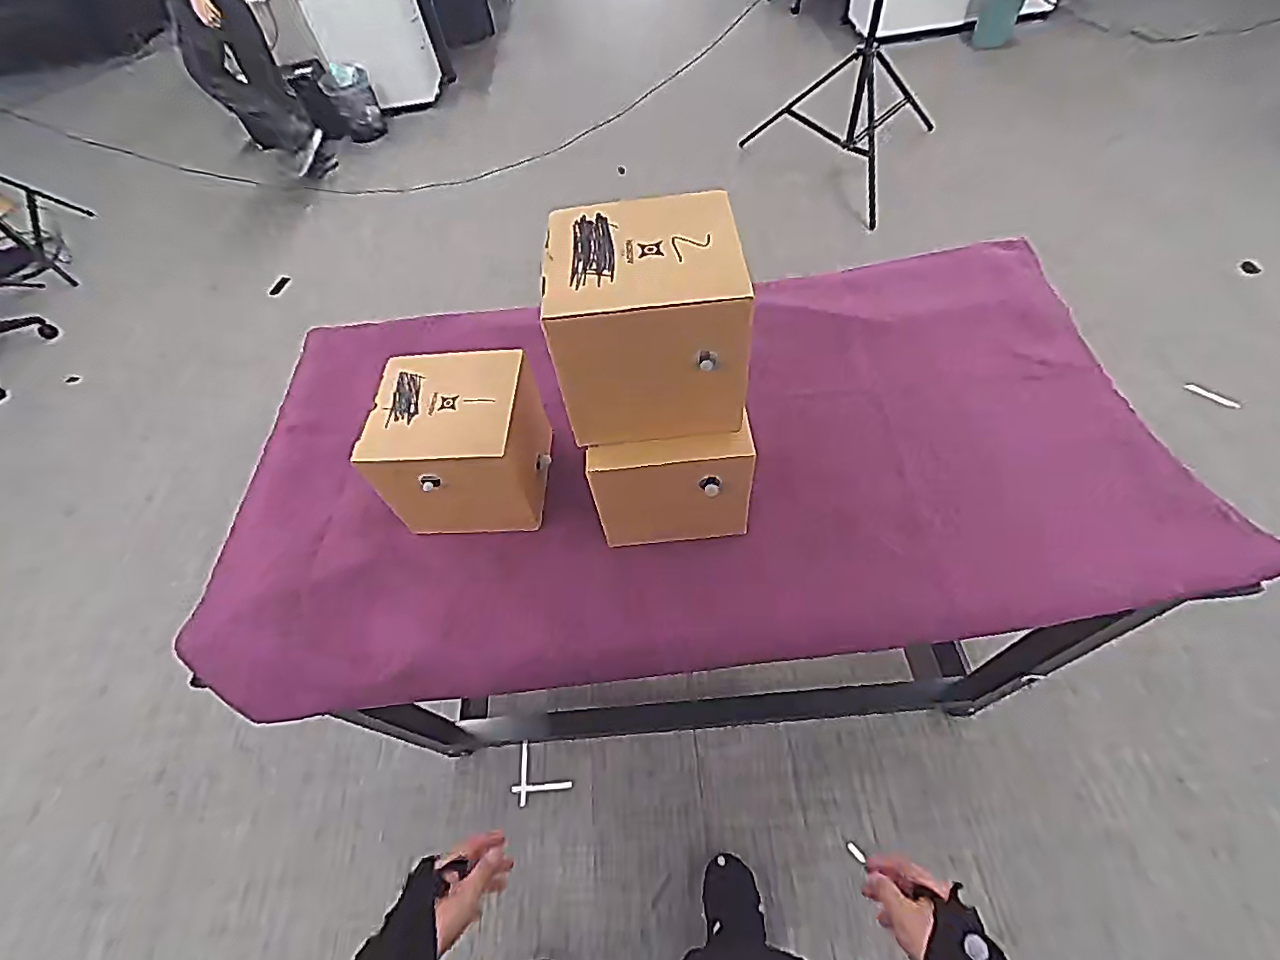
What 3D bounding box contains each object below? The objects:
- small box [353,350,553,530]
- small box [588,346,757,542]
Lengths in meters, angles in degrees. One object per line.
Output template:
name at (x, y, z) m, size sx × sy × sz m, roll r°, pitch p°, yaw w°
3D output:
small box at (-0.221, -0.045, 0.695) m, size 0.179 × 0.176 × 0.168 m, roll -2°, pitch 55°, yaw 4°
small box at (0.036, -0.038, 0.661) m, size 0.179 × 0.176 × 0.168 m, roll -6°, pitch 54°, yaw 3°
